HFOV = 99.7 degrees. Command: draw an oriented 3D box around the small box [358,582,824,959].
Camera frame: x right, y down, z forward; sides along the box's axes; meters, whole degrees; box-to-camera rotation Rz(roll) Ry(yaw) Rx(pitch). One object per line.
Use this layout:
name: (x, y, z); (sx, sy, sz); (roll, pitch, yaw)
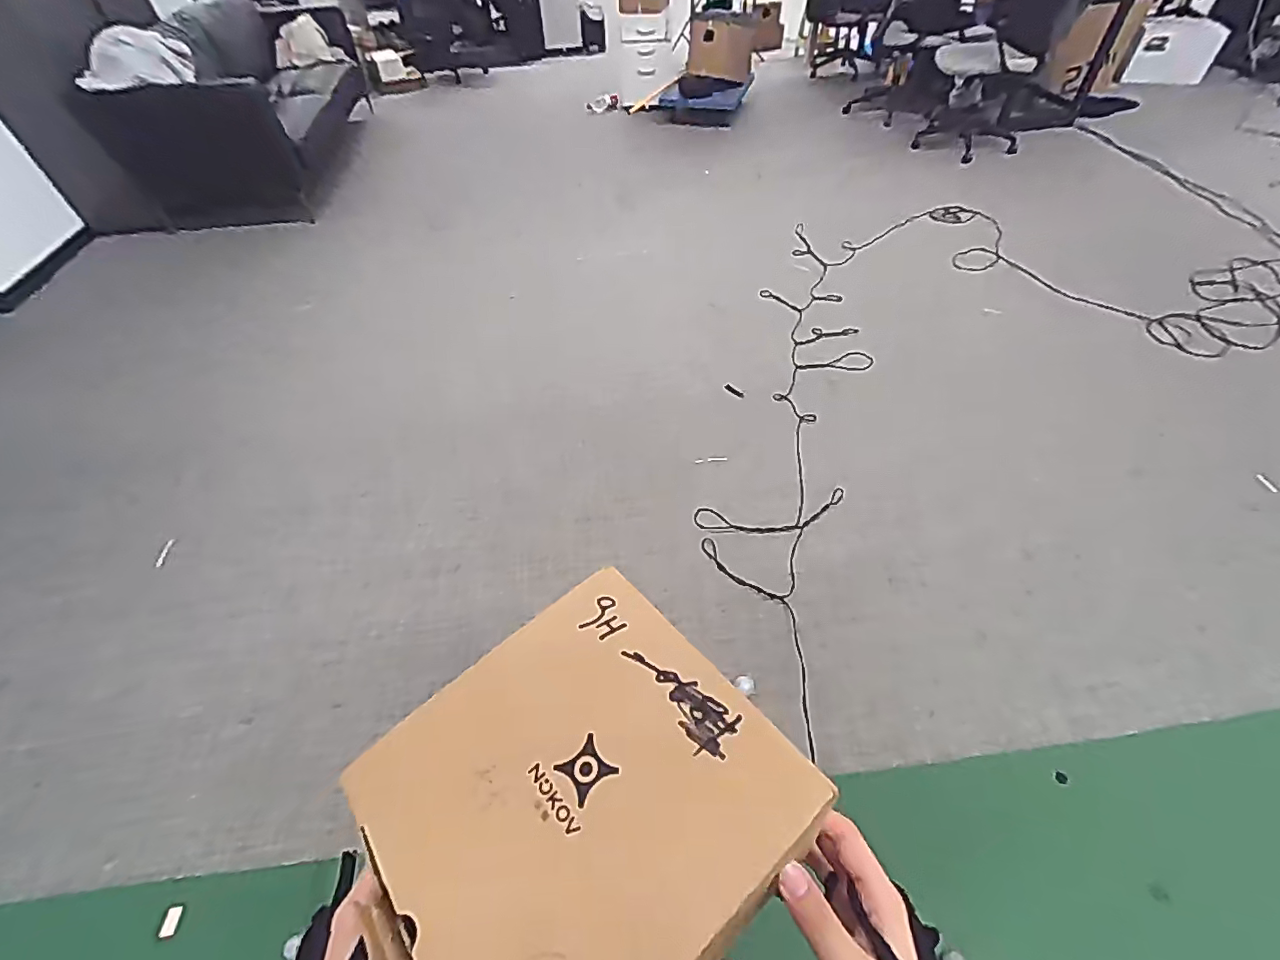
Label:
small box: (-0.018, 0.203, 0.317); (0.179, 0.176, 0.168); (-36, 52, -21)
